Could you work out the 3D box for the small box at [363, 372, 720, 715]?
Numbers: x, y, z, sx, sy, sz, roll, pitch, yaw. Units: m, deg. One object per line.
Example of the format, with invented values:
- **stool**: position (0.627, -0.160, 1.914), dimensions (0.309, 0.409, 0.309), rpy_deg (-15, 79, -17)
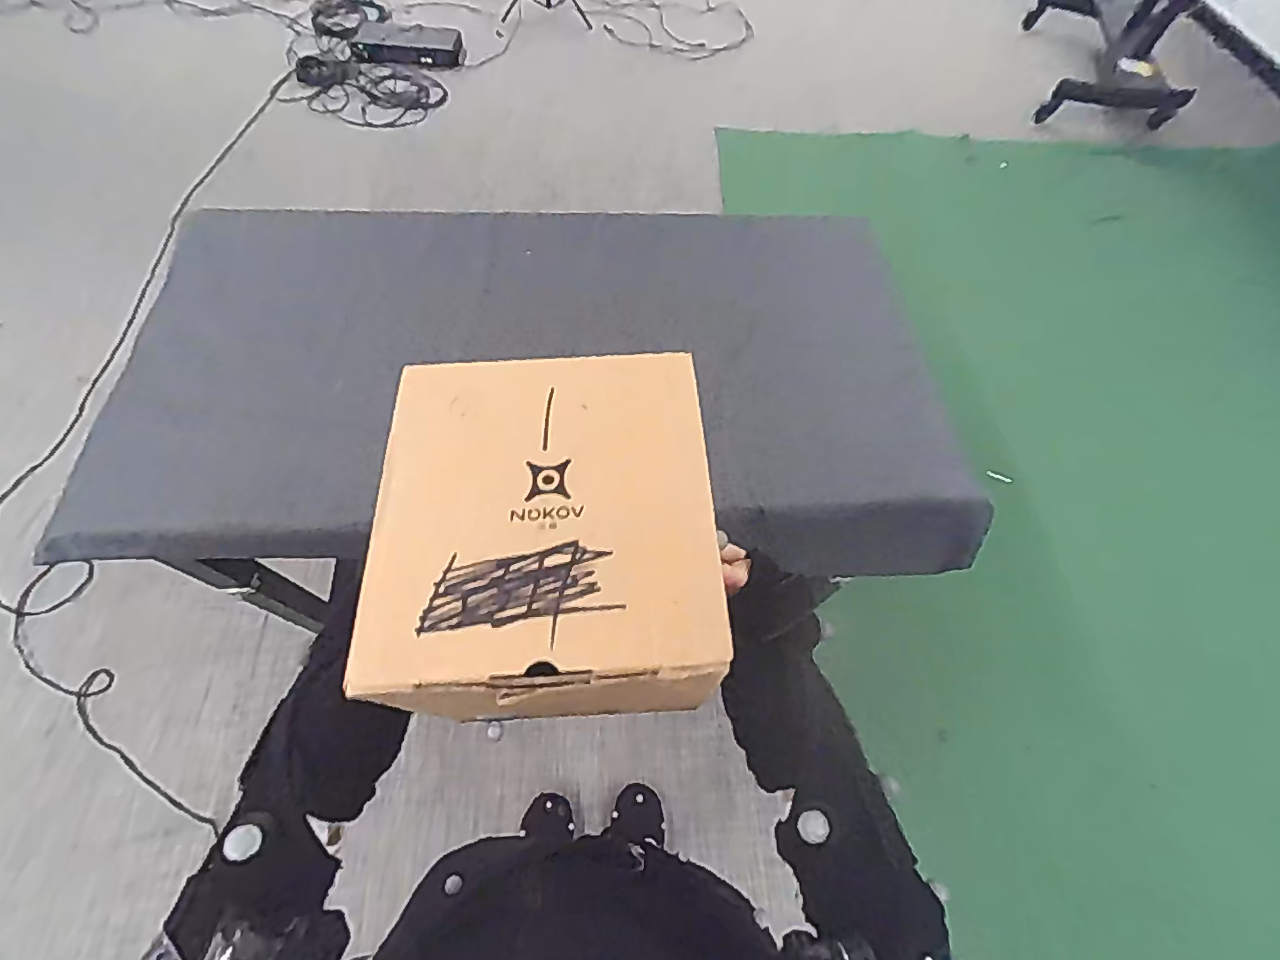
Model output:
- **small box**: position (-0.045, 0.053, 0.350), dimensions (0.168, 0.176, 0.179), rpy_deg (-2, 62, -1)
